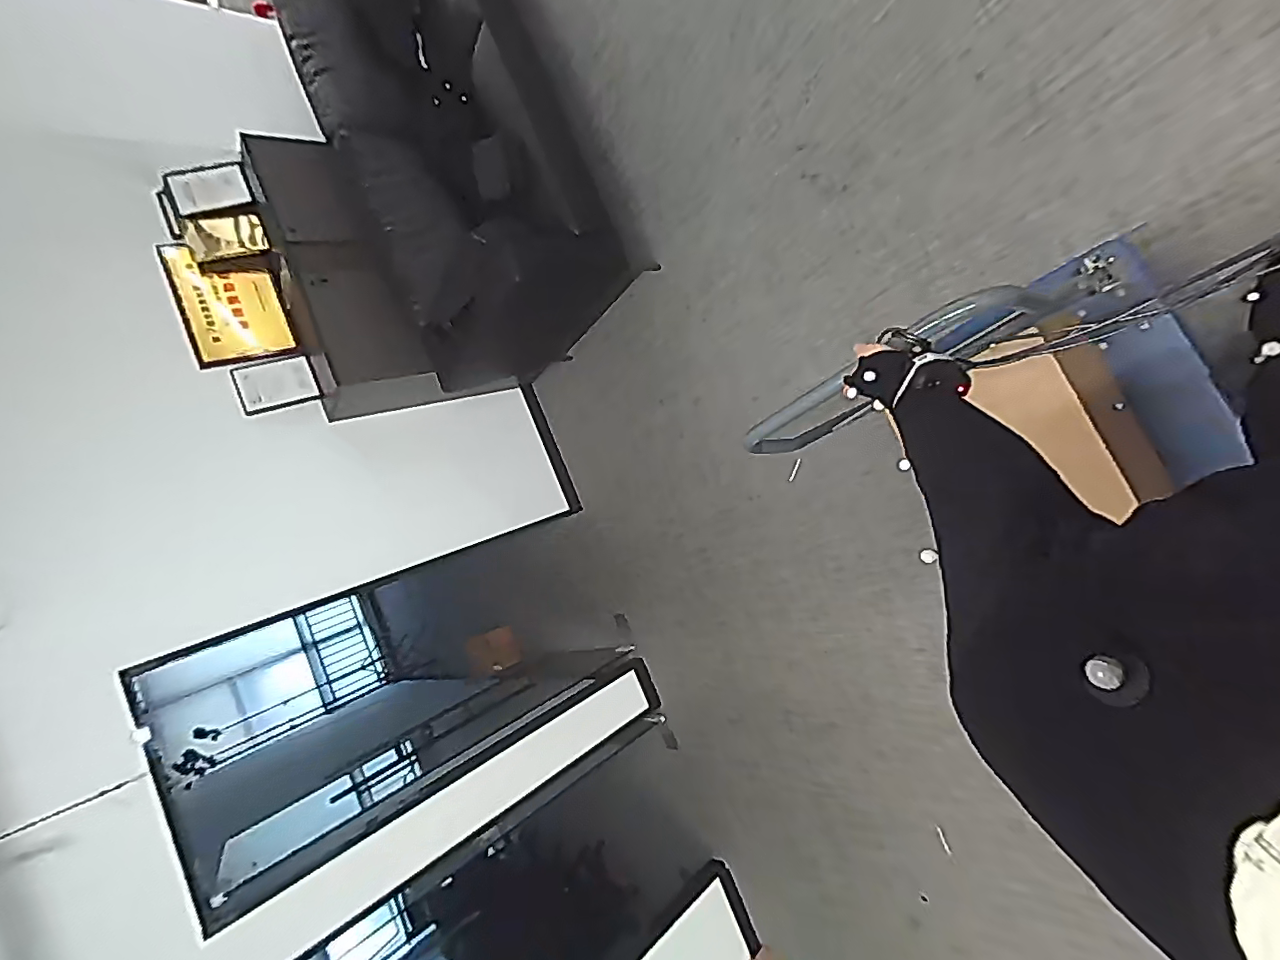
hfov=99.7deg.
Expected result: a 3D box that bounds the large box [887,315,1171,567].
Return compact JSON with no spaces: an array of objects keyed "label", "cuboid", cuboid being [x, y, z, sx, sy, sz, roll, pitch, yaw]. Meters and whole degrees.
[{"label":"large box","cuboid":[0.811,-0.086,1.140,0.320,0.320,0.408,-33,79,50]}]
